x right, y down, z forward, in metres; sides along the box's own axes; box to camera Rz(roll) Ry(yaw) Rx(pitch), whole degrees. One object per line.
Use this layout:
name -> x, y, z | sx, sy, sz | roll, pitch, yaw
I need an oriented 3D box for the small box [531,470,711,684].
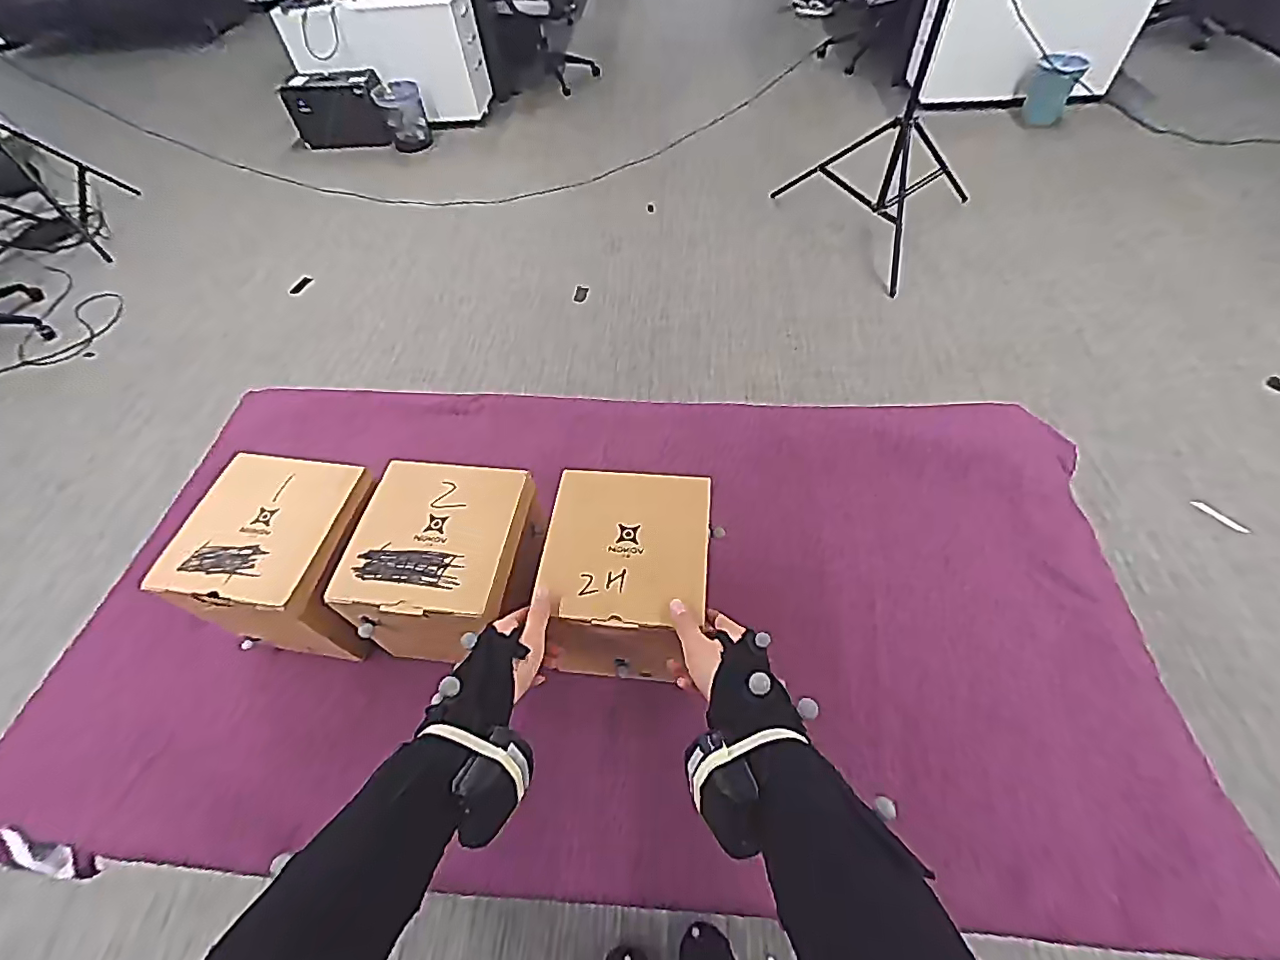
small box -> -0.009, 0.111, 0.611 | 0.168, 0.176, 0.179 | 3, 54, 7
